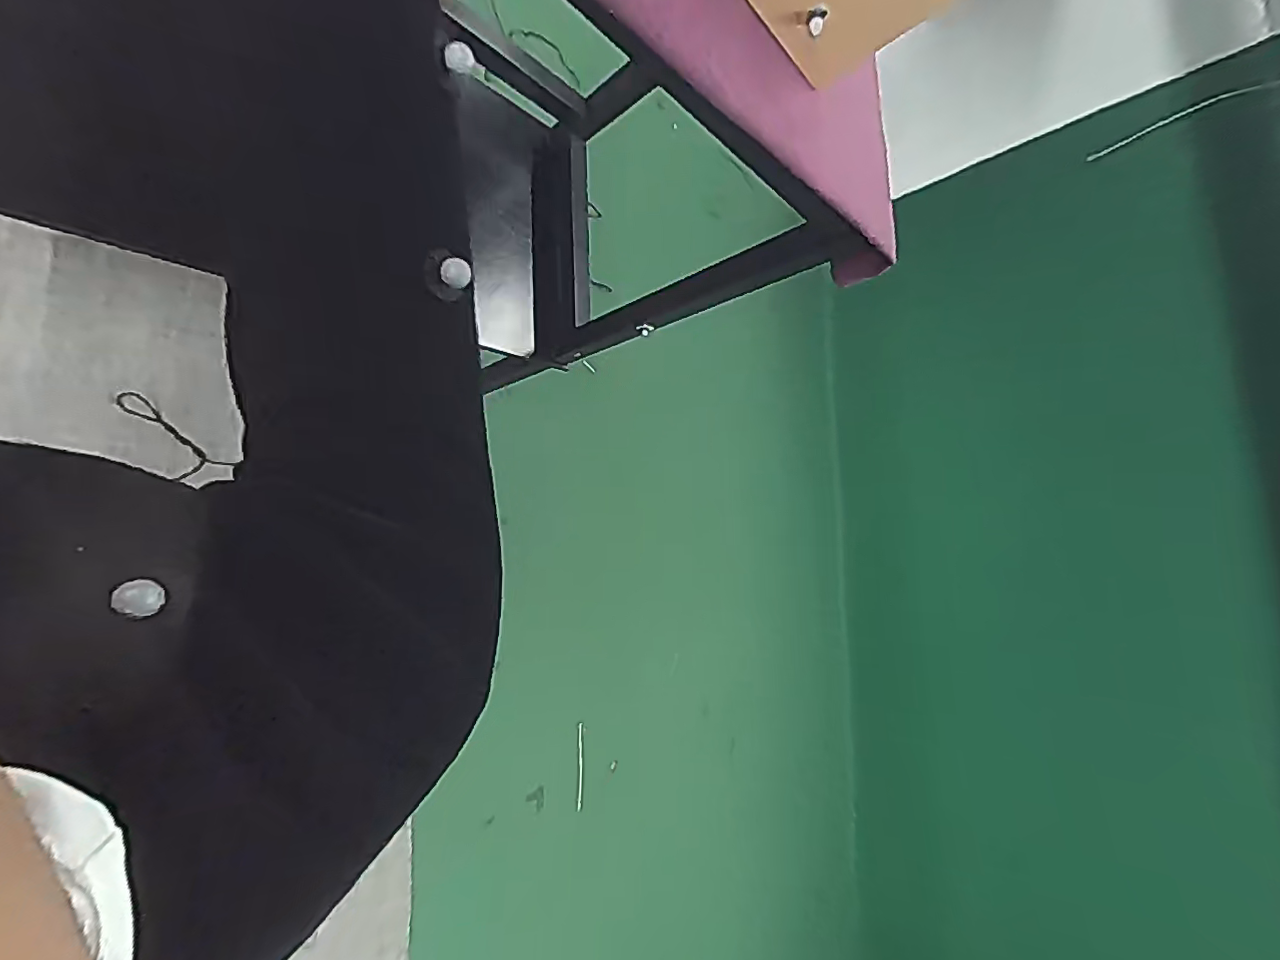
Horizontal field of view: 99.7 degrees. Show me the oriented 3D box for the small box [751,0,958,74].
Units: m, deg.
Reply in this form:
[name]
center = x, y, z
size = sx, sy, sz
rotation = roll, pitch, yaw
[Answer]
[small box]
center = 0.200, -0.543, 0.516
size = 0.179, 0.176, 0.168
rotation = 6, 78, -47
